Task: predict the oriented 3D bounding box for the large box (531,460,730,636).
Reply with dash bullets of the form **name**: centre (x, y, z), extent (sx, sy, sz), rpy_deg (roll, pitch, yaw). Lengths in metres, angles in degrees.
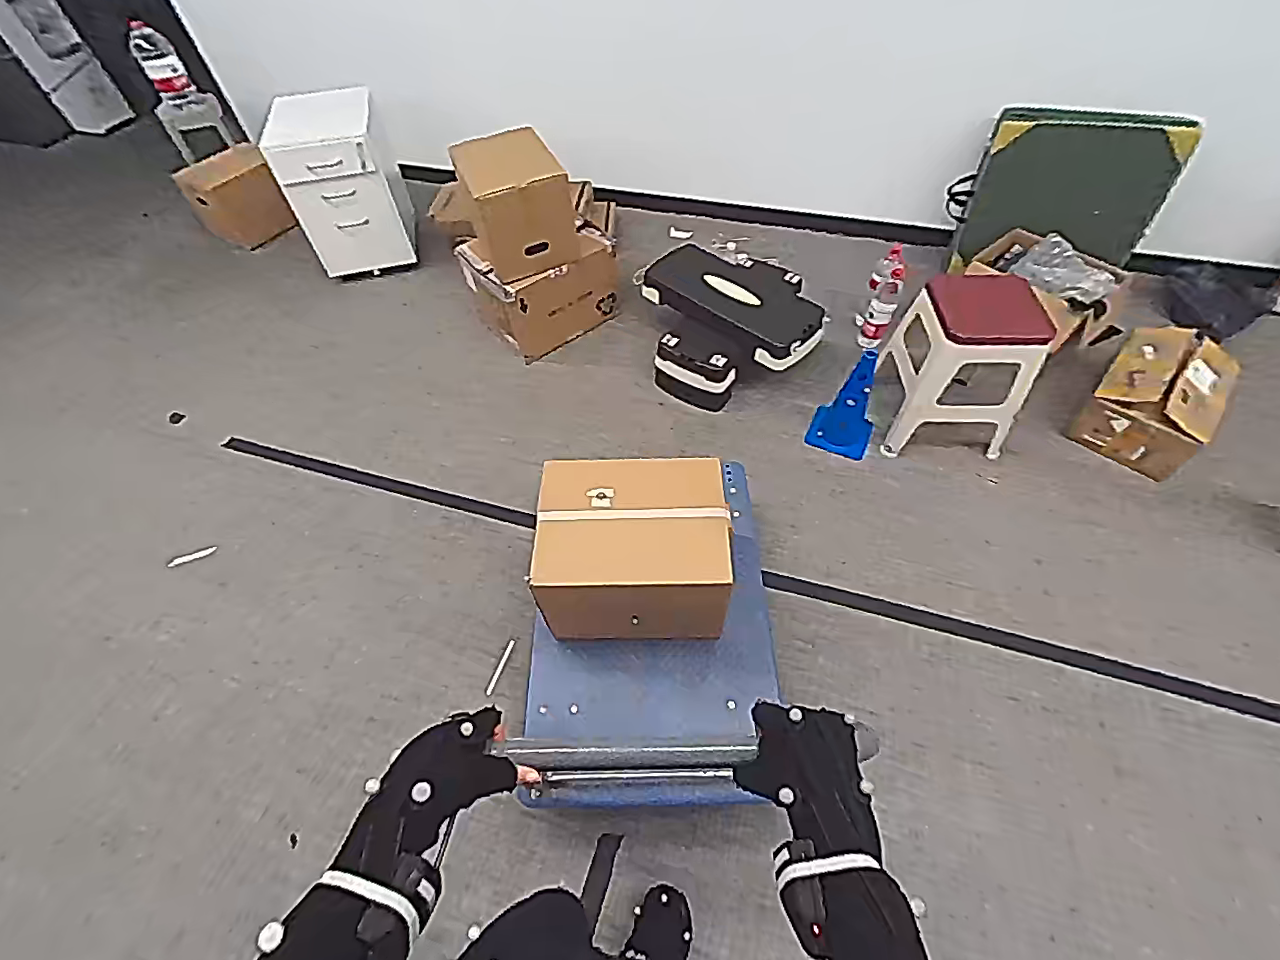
- **large box**: centre (-0.013, 0.170, 1.274), extent (0.408, 0.320, 0.320), rpy_deg (-1, 54, 2)
